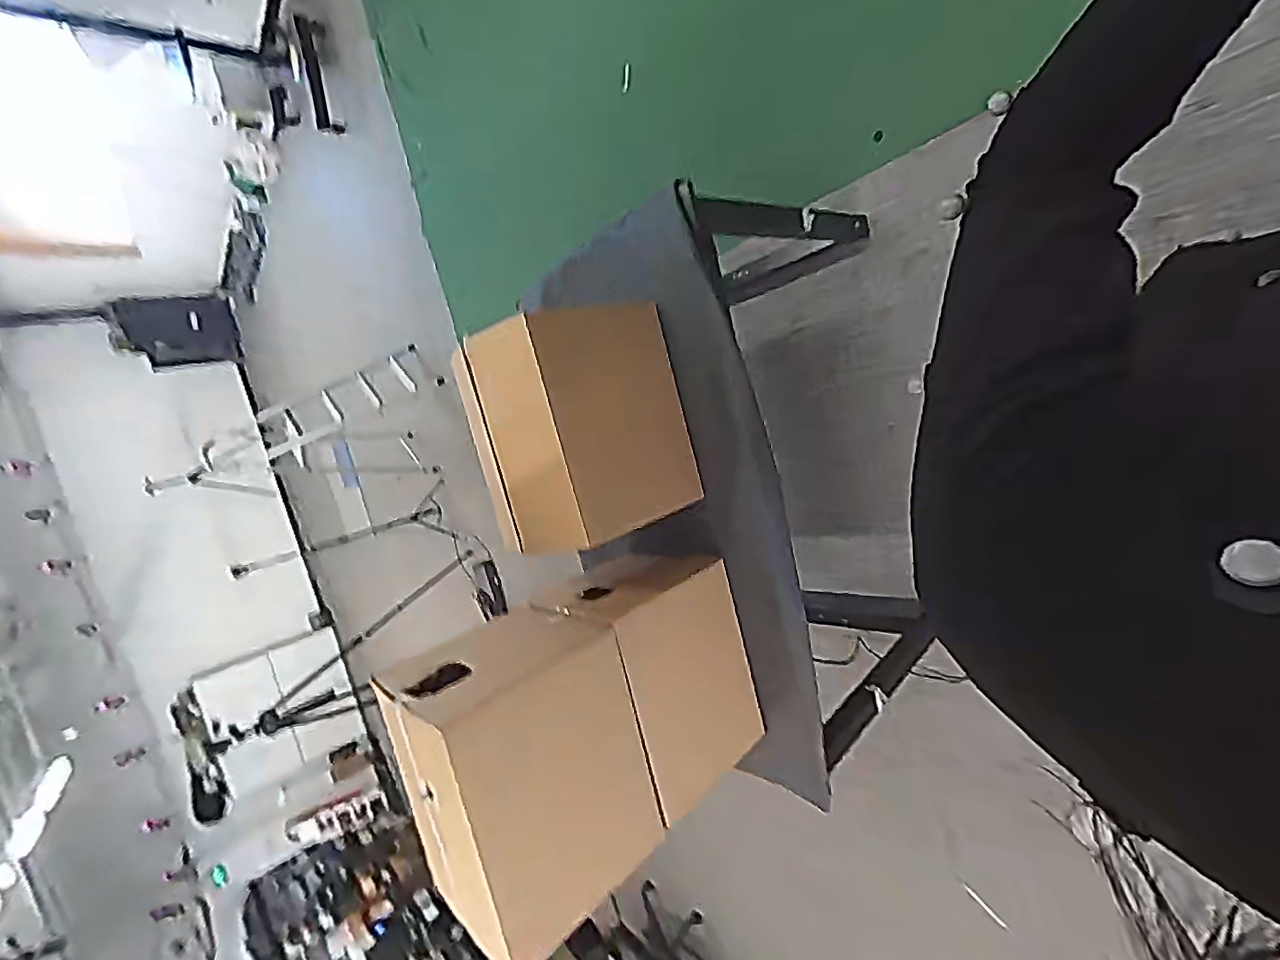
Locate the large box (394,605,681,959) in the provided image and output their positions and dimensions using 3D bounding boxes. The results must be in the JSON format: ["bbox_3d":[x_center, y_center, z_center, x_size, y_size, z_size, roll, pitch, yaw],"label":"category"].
[{"bbox_3d":[-0.176,0.478,0.945,0.320,0.320,0.408,-7,99,48],"label":"large box"}]
